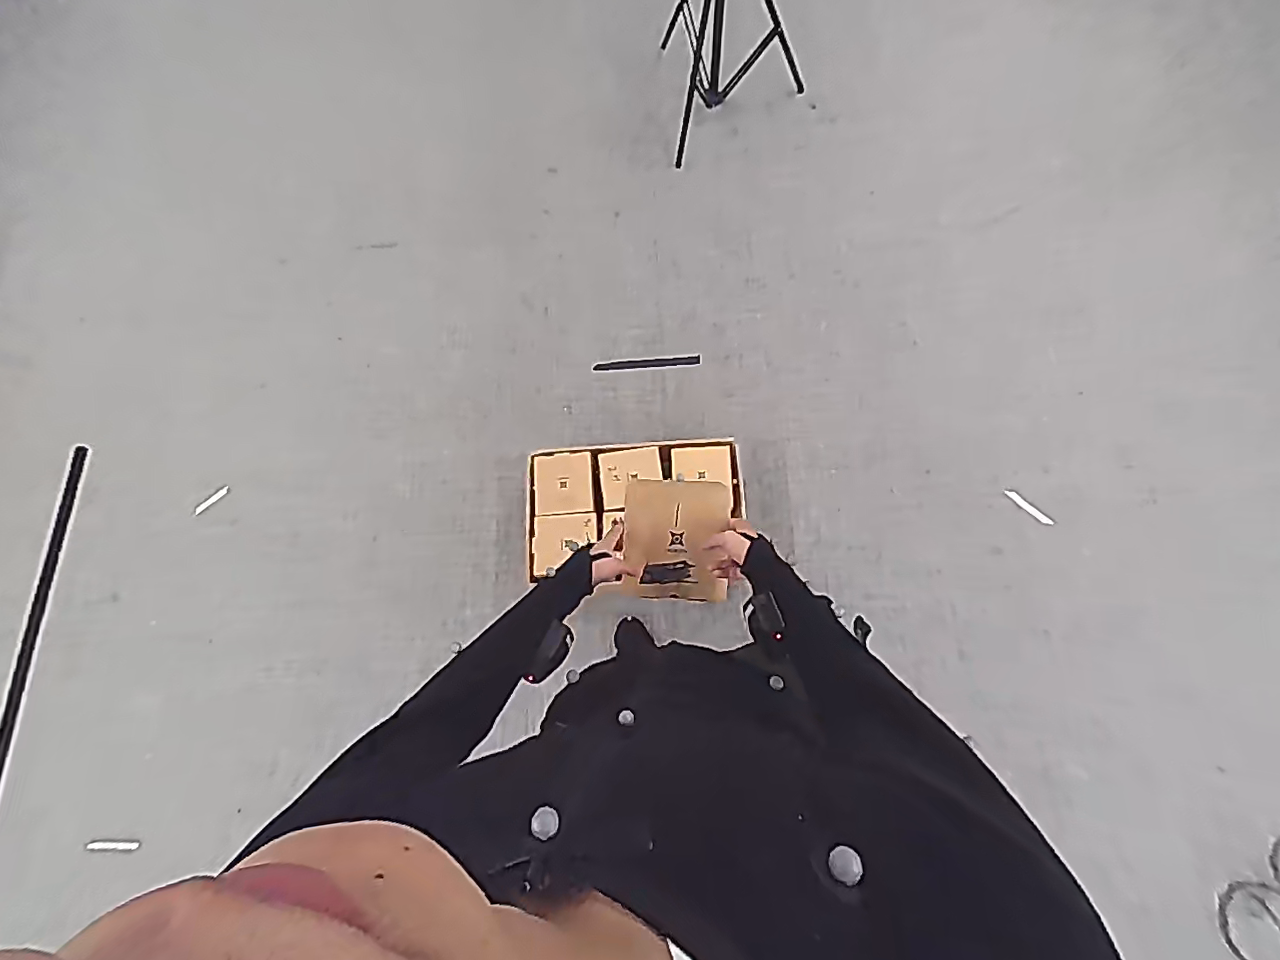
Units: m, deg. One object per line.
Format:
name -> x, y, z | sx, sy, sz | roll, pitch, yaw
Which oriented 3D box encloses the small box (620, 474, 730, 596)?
small box -> 0.058, 0.084, 0.913 | 0.168, 0.176, 0.179 | 2, 94, 2
